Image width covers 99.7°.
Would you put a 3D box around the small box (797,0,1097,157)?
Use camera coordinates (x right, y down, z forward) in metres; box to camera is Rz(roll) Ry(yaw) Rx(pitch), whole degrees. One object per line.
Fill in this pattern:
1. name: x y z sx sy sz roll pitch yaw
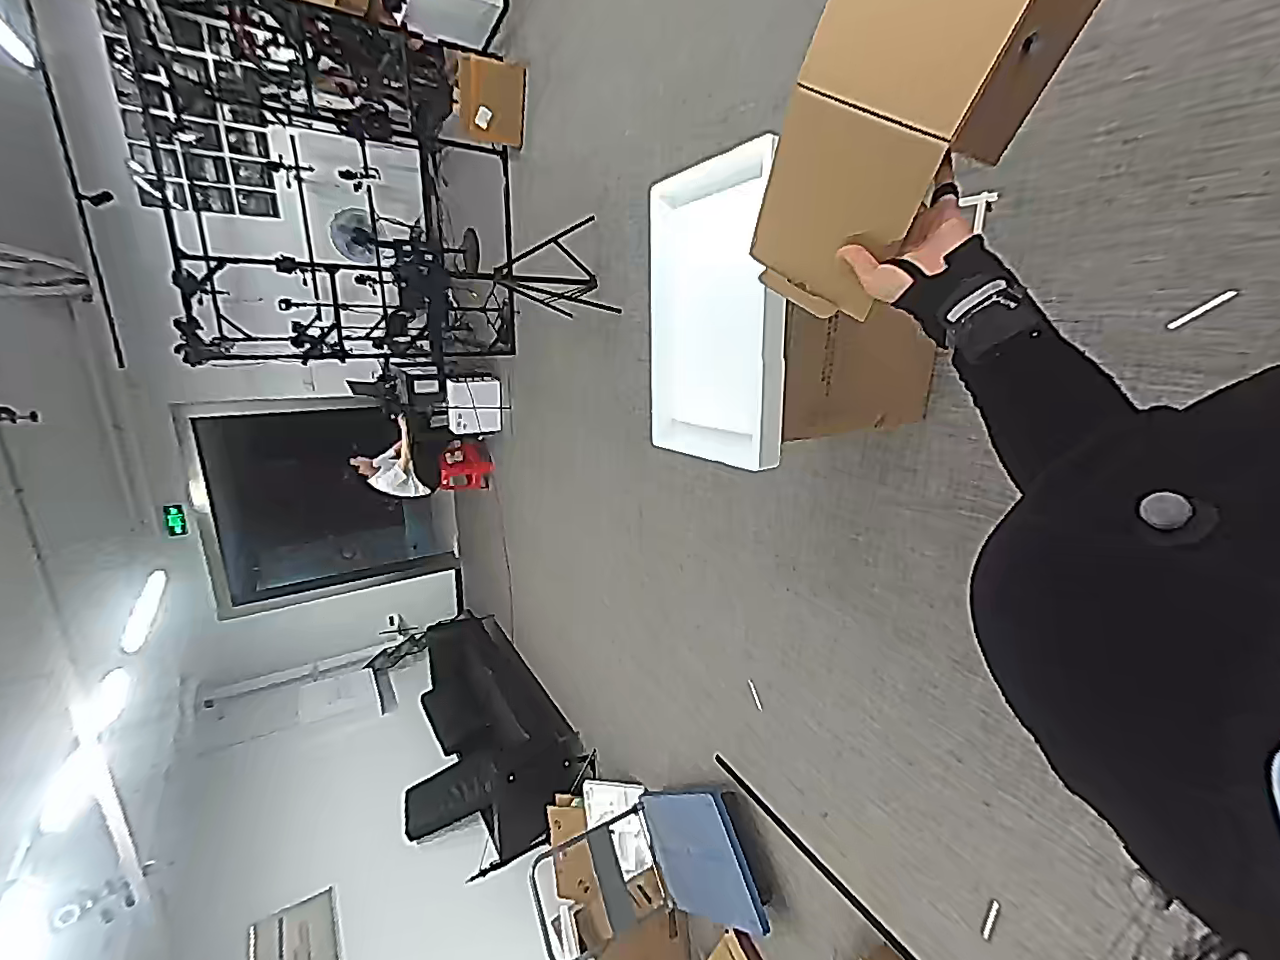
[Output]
1. small box: 0.282 -0.416 0.485 0.168 0.176 0.179 42 131 25
